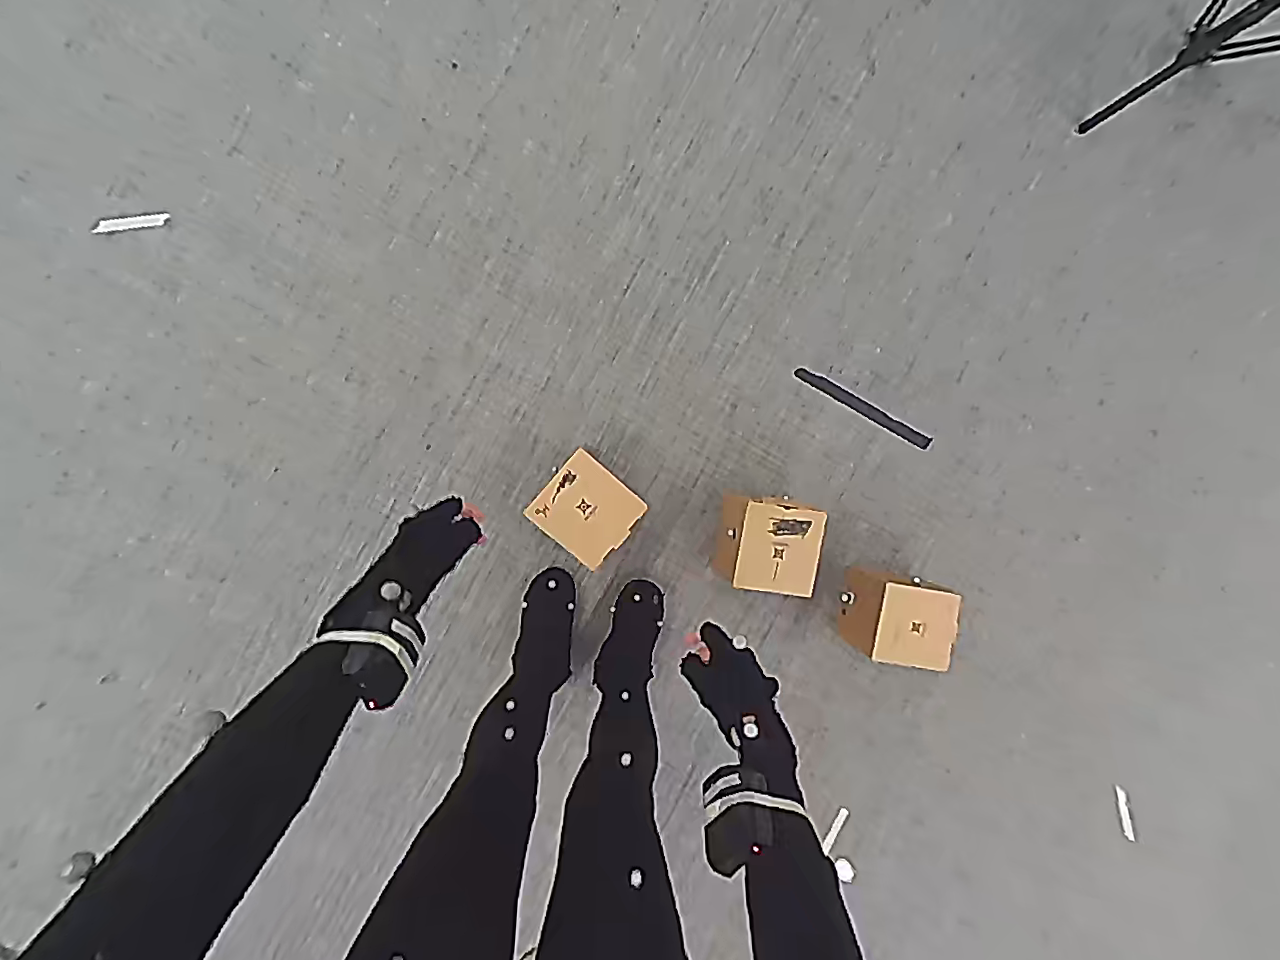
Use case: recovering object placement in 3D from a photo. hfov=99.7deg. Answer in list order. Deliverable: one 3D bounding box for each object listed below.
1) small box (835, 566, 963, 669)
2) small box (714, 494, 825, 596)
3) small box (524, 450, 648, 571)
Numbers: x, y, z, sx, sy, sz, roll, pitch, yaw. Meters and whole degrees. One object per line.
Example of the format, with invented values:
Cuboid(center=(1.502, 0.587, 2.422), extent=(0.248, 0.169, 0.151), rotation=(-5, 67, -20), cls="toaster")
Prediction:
Cuboid(center=(0.557, 0.292, 1.180), extent=(0.179, 0.176, 0.168), rotation=(9, 91, -6), cls="small box")
Cuboid(center=(0.263, 0.127, 1.135), extent=(0.168, 0.176, 0.179), rotation=(9, 92, -7), cls="small box")
Cuboid(center=(-0.109, 0.052, 1.092), extent=(0.179, 0.176, 0.168), rotation=(41, 88, -7), cls="small box")
